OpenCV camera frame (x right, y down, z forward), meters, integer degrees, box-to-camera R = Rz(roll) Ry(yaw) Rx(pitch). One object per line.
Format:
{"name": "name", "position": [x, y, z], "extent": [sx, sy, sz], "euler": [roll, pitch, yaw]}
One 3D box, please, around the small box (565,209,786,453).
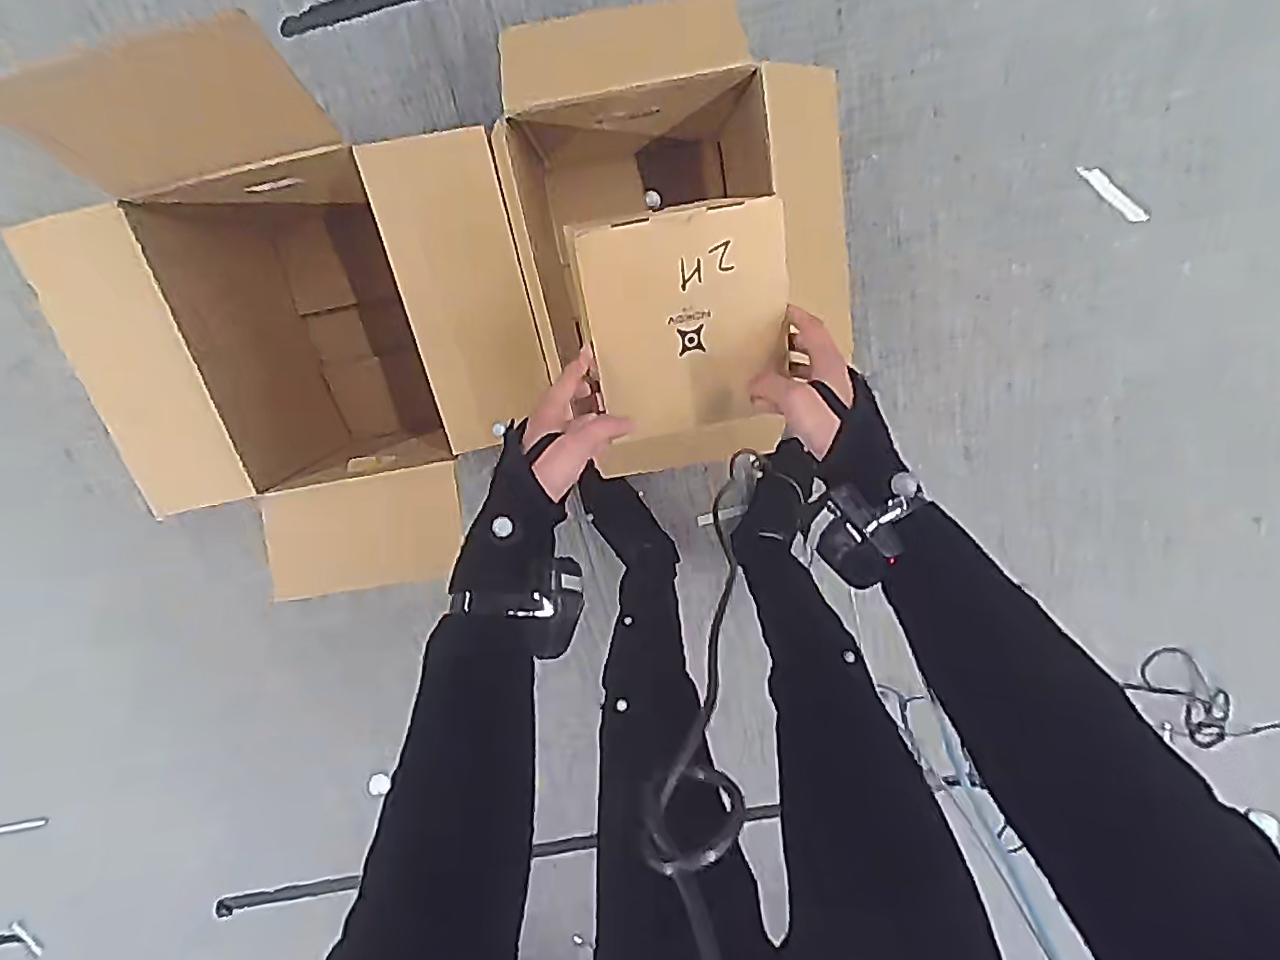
{"name": "small box", "position": [0.027, -0.148, 0.509], "extent": [0.168, 0.176, 0.179], "euler": [-12, 117, -4]}
